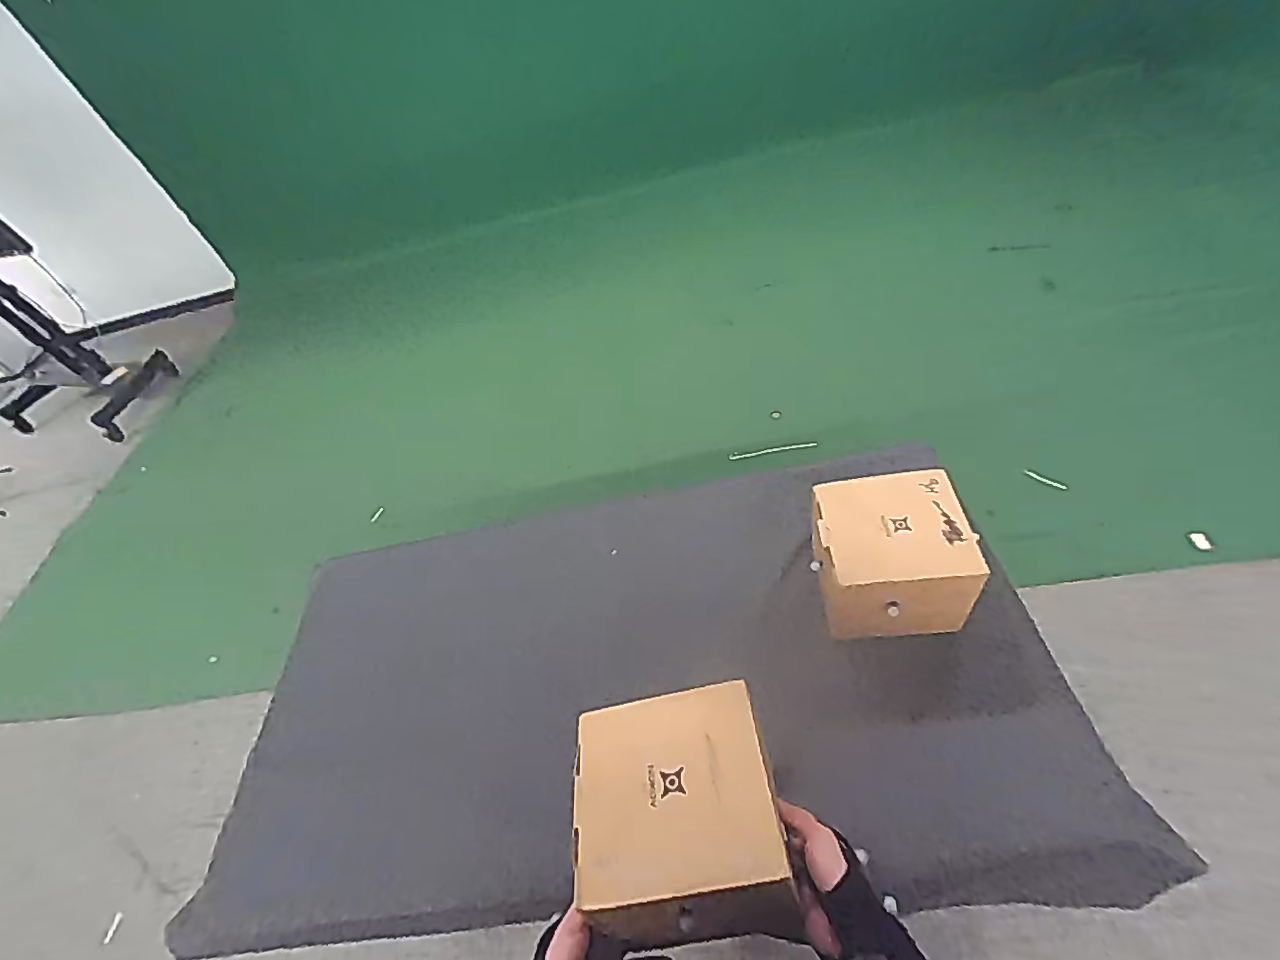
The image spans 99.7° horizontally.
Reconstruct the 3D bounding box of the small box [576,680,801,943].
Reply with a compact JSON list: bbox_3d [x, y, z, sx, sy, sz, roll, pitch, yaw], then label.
[{"bbox_3d":[0.047,0.329,0.534,0.179,0.176,0.168,-14,40,6],"label":"small box"}]

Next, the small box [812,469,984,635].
[{"bbox_3d":[0.347,0.108,0.764,0.179,0.176,0.168,-8,51,12],"label":"small box"}]
